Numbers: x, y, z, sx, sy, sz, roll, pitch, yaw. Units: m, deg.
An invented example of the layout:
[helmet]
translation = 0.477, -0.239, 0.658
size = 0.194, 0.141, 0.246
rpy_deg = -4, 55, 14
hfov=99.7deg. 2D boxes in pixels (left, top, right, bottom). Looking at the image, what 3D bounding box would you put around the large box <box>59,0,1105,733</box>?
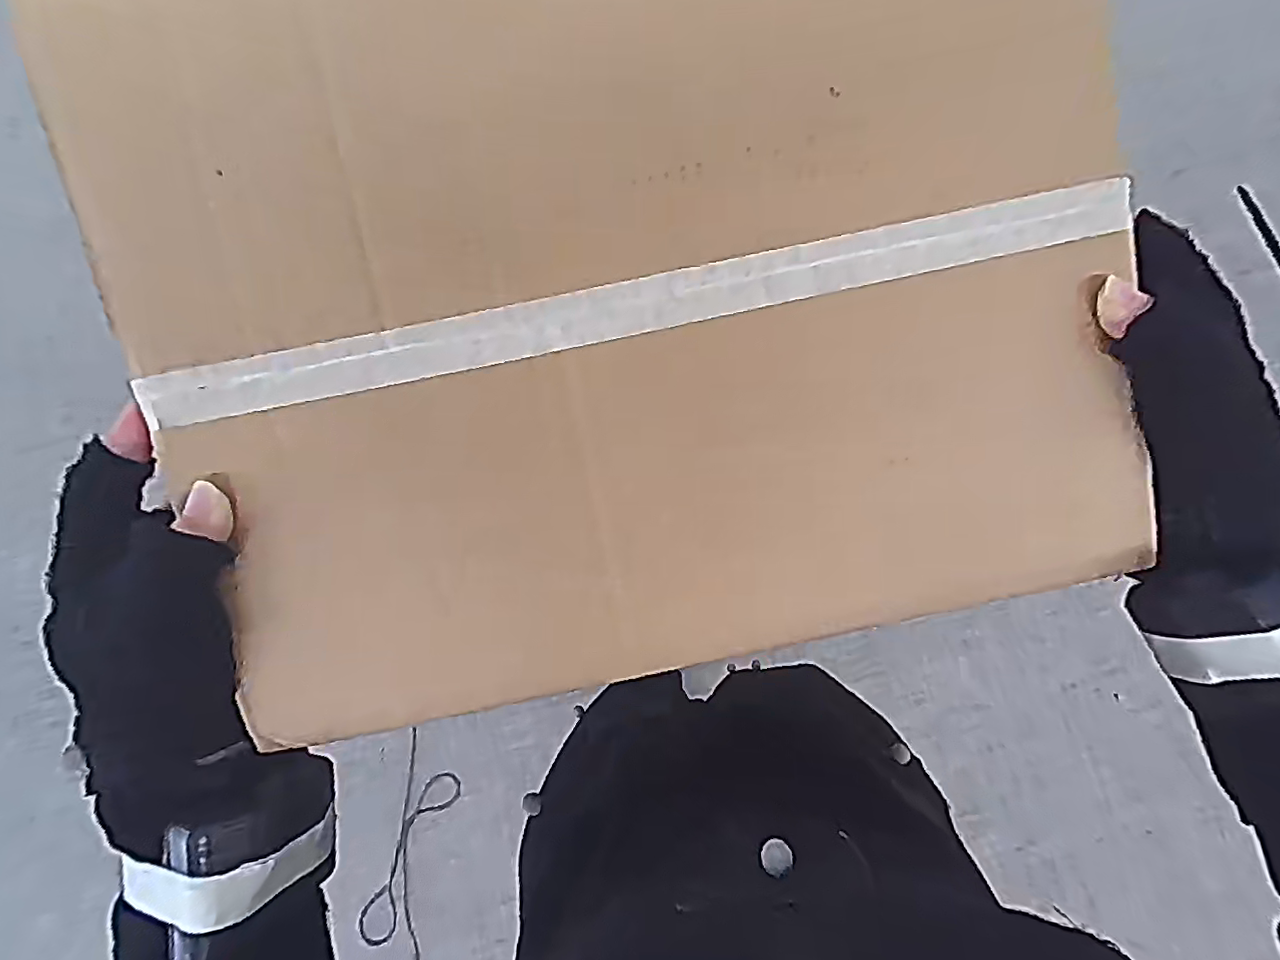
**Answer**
[large box]
translation = -0.006, -0.092, 0.379
size = 0.408, 0.320, 0.320
rpy_deg = -12, 98, -1
